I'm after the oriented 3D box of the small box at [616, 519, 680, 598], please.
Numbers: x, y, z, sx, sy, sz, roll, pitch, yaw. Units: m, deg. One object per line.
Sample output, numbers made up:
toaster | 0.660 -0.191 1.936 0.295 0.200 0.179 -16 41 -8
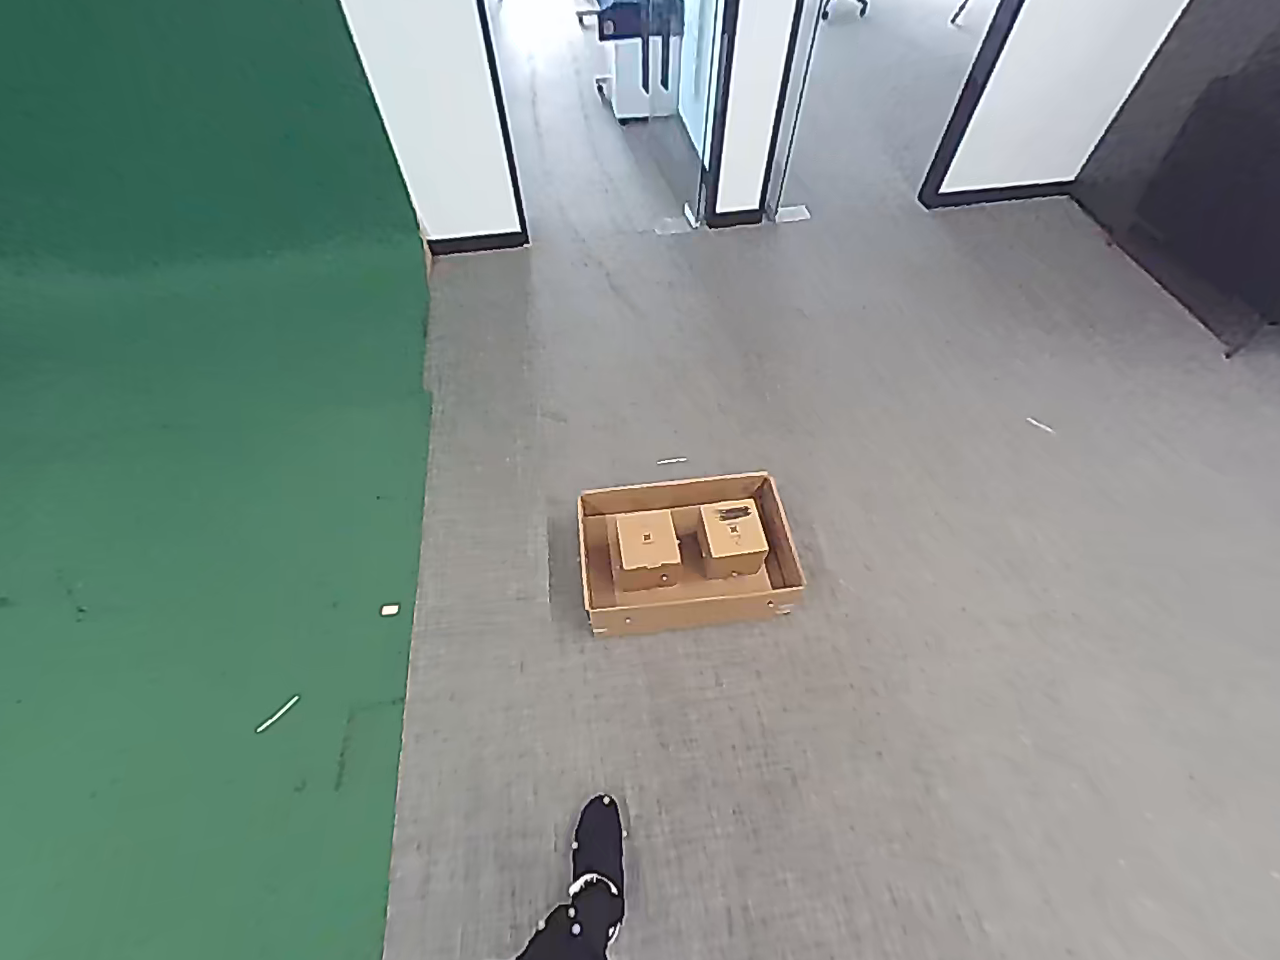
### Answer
small box | 0.020 0.238 1.604 0.168 0.176 0.179 -6 55 -6
